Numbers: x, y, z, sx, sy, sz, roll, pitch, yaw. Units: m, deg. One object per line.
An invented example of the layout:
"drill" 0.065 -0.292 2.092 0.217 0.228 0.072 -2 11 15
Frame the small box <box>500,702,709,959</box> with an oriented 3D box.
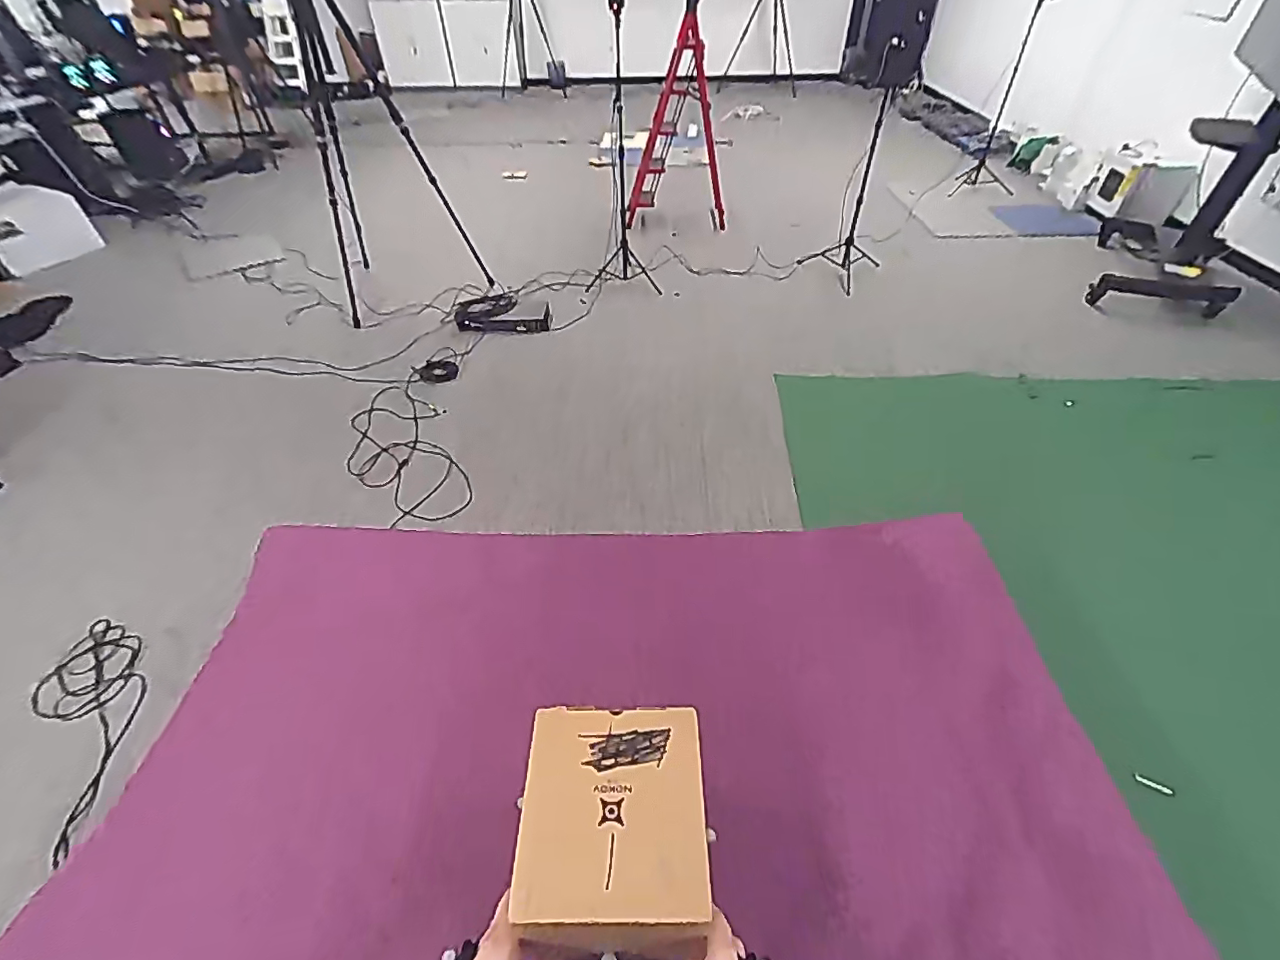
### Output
"small box" -0.026 0.341 0.530 0.168 0.176 0.179 -1 42 1
